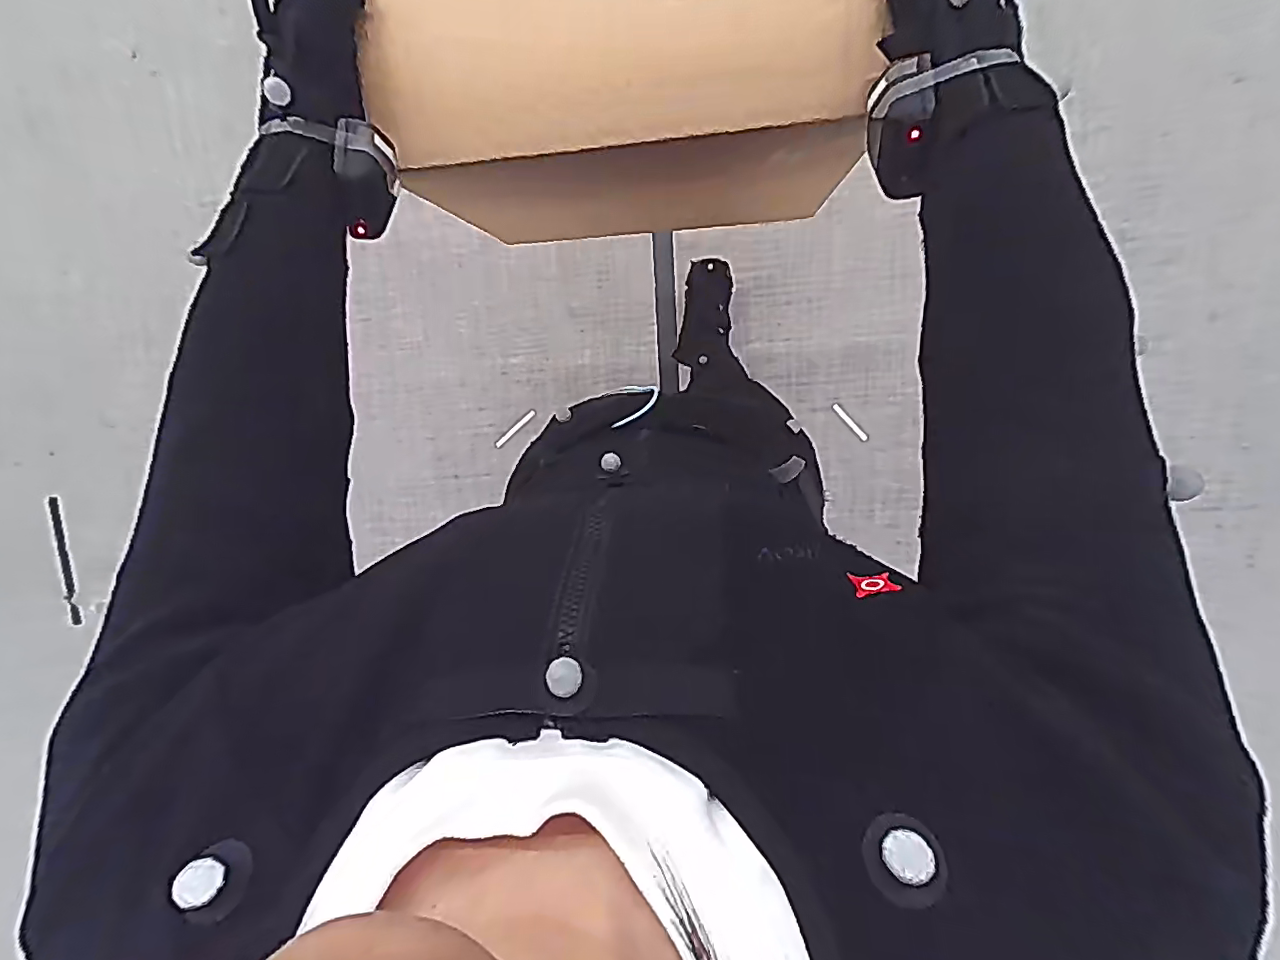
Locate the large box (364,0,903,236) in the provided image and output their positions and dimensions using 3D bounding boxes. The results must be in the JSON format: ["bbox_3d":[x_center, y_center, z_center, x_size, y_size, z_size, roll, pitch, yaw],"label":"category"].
[{"bbox_3d":[-0.006,-0.453,0.528,0.408,0.320,0.320,-3,104,6],"label":"large box"}]
